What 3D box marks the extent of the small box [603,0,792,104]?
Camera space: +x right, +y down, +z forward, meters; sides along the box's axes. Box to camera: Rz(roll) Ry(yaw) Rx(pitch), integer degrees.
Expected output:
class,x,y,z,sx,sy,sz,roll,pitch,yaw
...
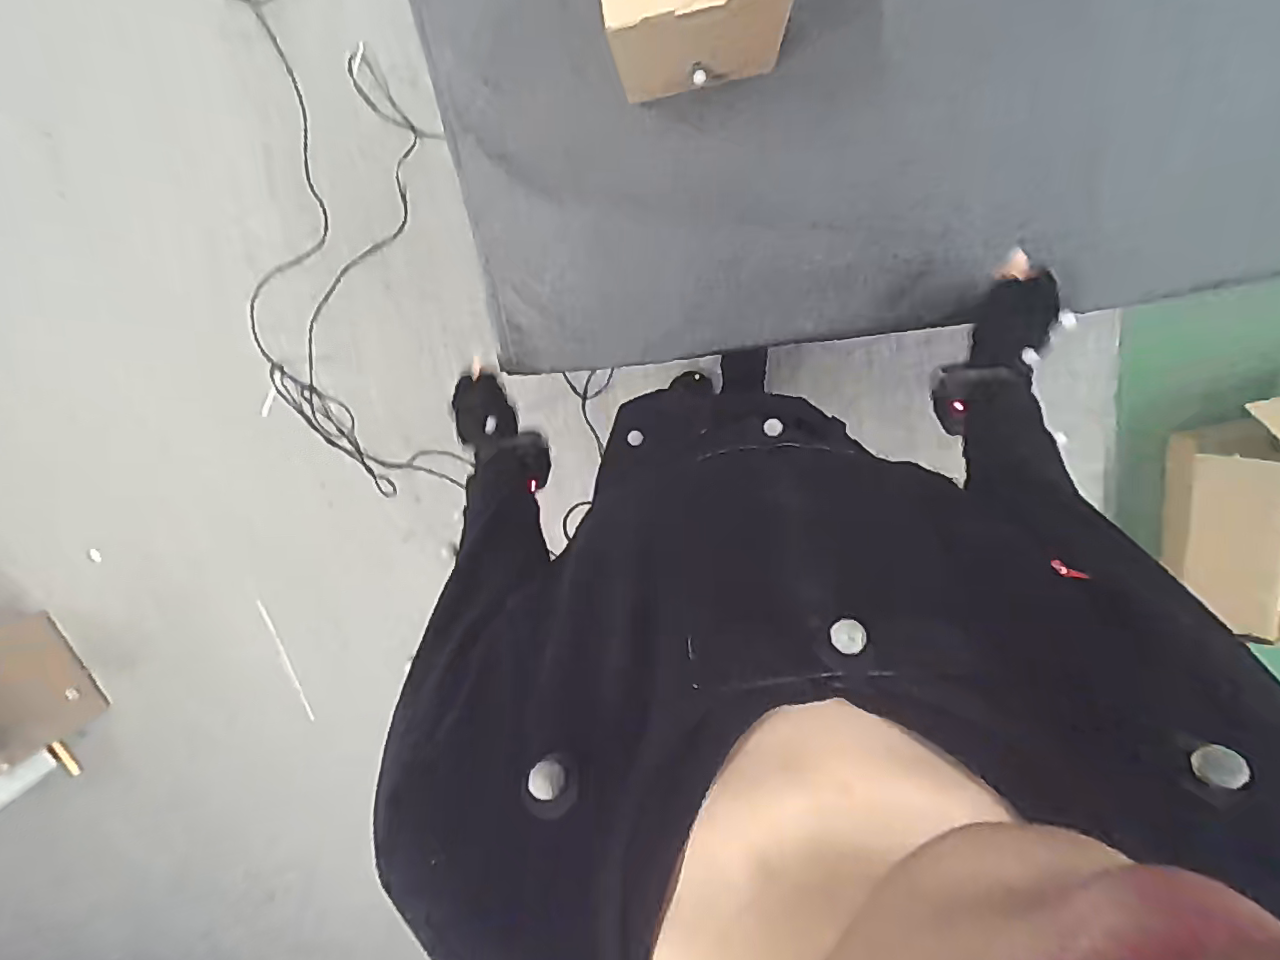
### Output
class,x,y,z,sx,sy,sz,roll,pitch,yaw
small box,0.045,-0.505,0.518,0.168,0.176,0.179,-8,105,9
